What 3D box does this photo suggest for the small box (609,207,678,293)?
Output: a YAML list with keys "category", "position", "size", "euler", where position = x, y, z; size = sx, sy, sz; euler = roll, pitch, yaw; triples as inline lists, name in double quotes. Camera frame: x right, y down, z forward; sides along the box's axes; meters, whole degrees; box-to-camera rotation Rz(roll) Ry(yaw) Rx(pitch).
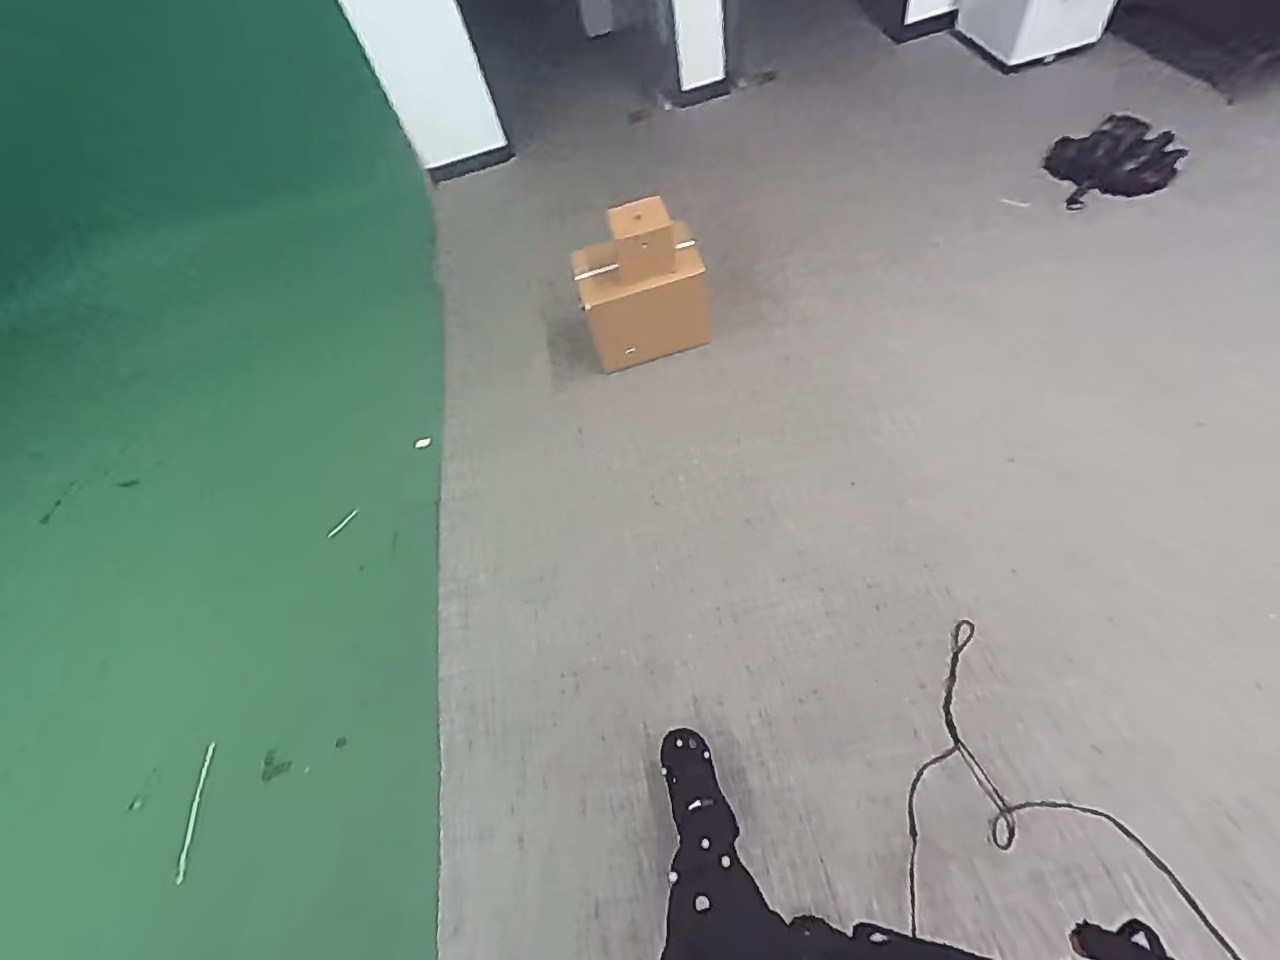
- category: "small box"
  position: [0.014, -0.718, 1.704]
  size: [0.179, 0.176, 0.168]
  euler: [-15, 57, 1]
